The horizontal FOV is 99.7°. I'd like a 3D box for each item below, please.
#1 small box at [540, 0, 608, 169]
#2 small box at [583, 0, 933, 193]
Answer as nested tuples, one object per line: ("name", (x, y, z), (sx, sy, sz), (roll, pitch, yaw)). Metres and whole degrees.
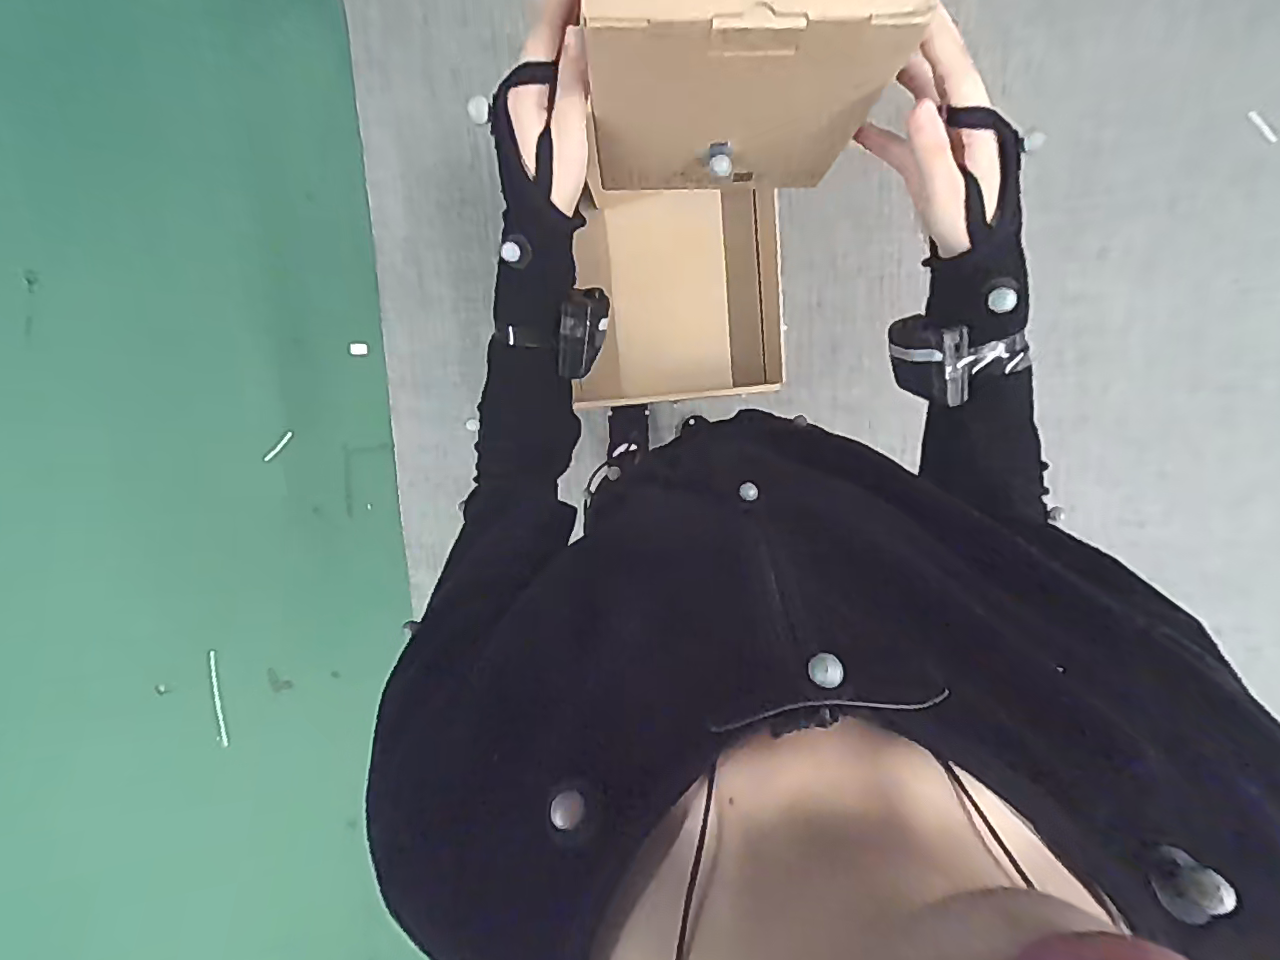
("small box", (-0.031, -0.584, 0.785), (0.179, 0.176, 0.168), (-9, 97, 5))
("small box", (0.055, -0.303, 0.326), (0.168, 0.176, 0.179), (0, 94, 0))
